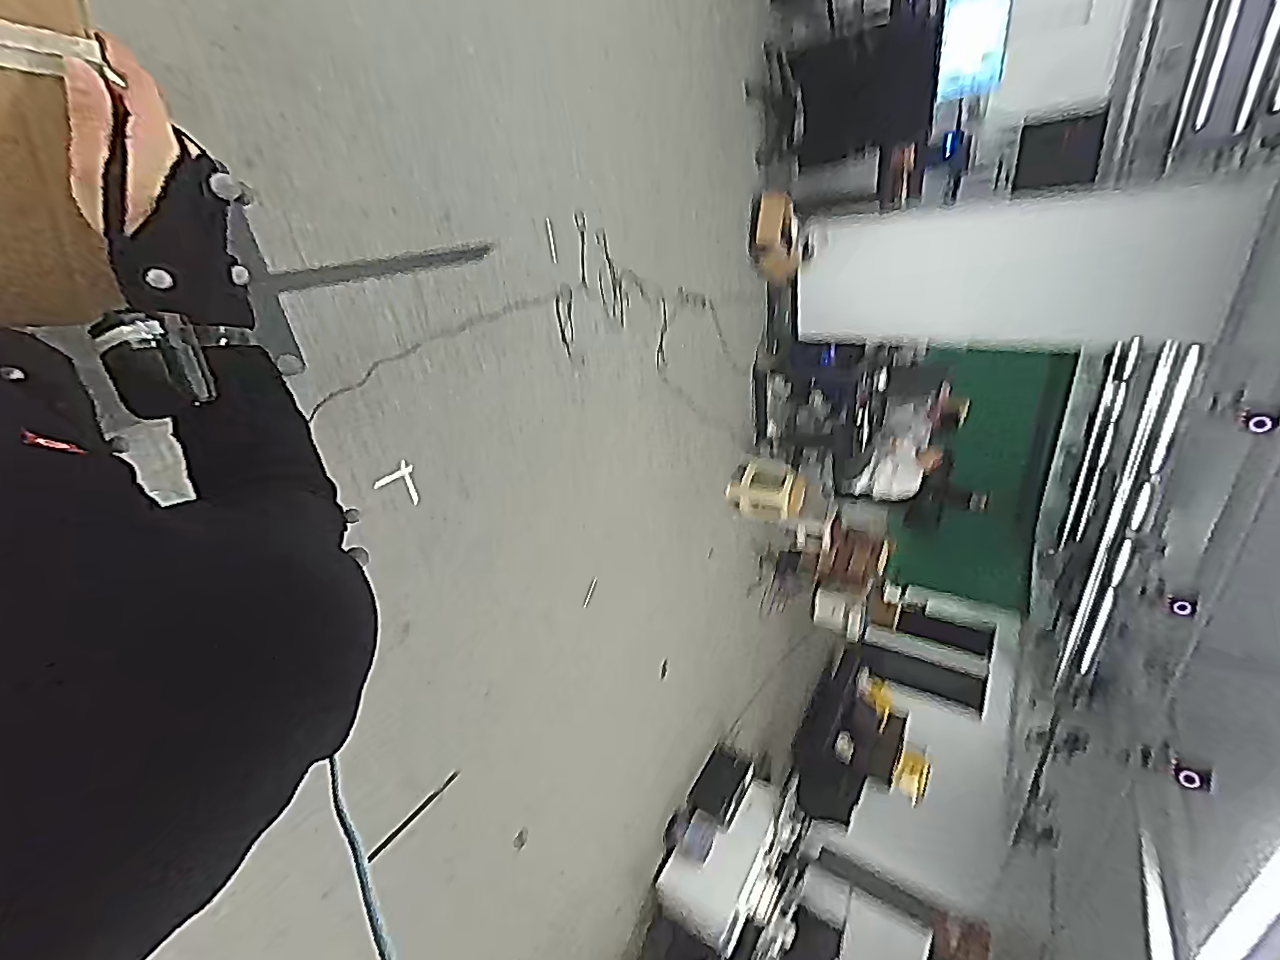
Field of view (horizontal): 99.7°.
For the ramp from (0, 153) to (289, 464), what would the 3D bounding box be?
[{"bbox_3d":[-1.147,-0.284,0.926,0.991,0.206,0.509,-42,131,-45],"label":"ramp"}]
